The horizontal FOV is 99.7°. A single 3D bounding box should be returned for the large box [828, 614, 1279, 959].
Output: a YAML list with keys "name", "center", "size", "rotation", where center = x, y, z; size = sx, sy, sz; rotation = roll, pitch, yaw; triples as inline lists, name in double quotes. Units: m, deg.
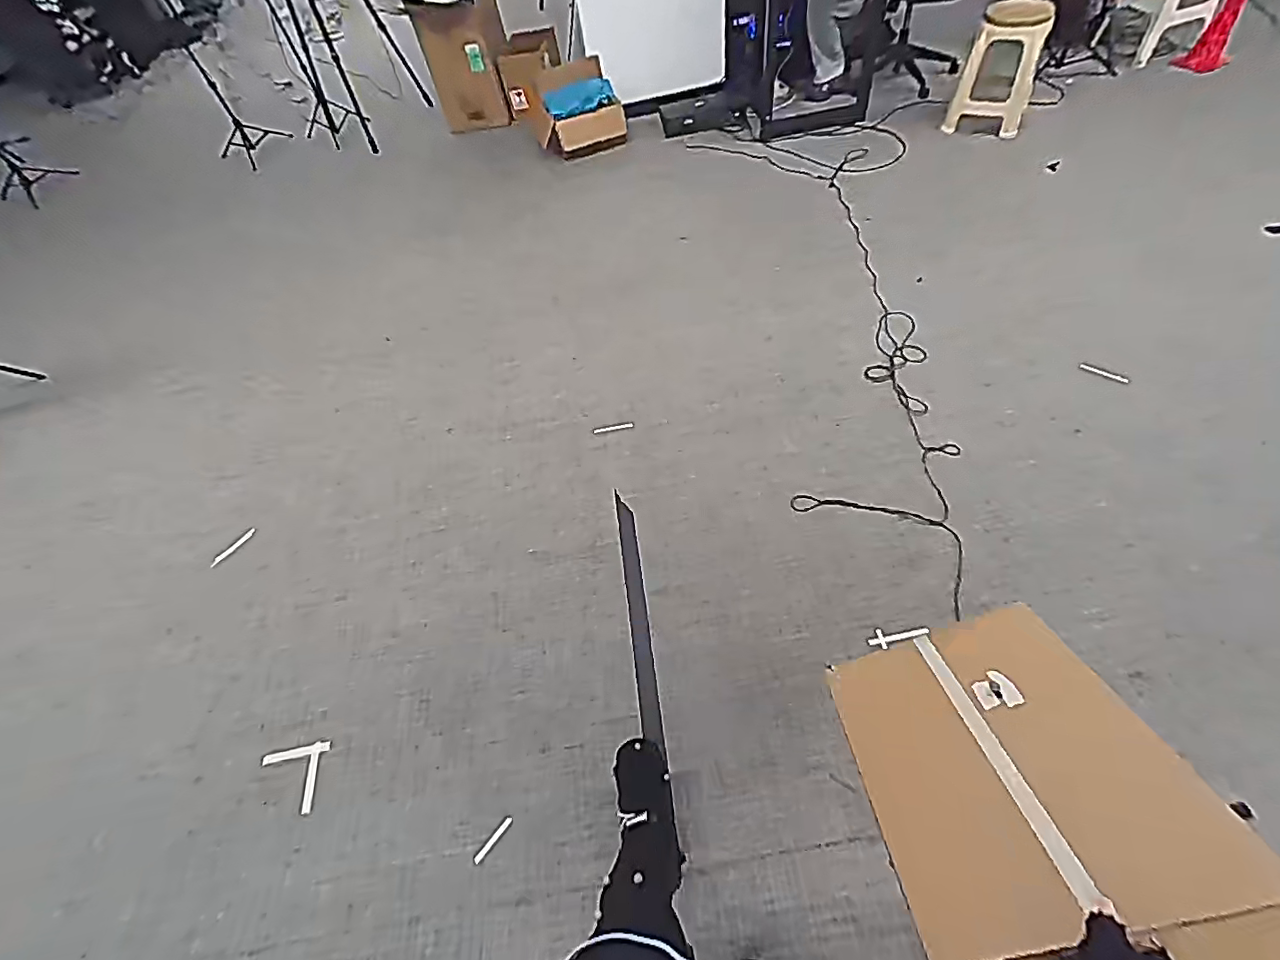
- name: "large box"
  center: [0.502, 0.462, 0.718]
  size: [0.320, 0.320, 0.408]
  rotation: [-24, 19, 12]
